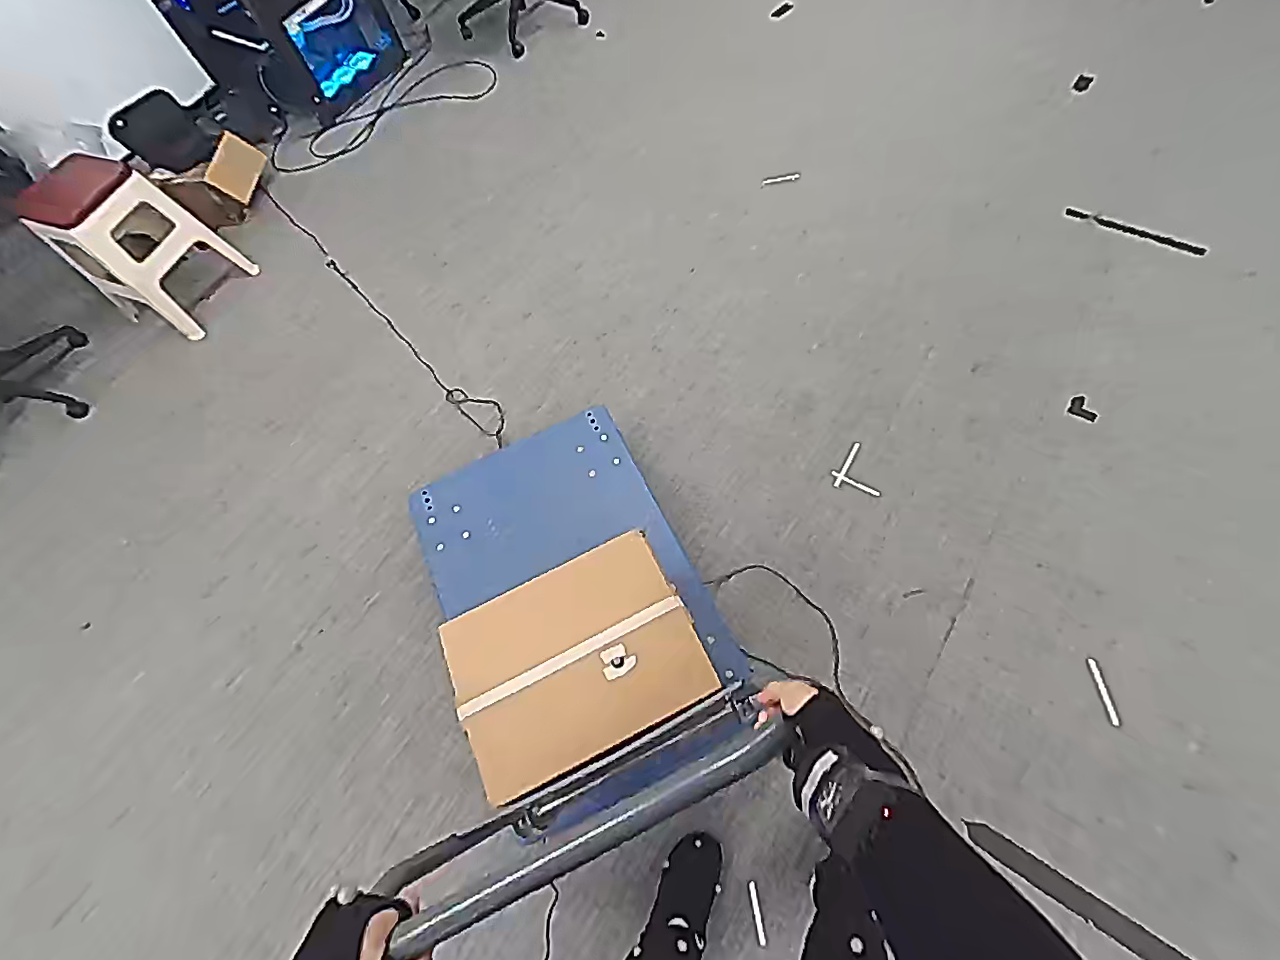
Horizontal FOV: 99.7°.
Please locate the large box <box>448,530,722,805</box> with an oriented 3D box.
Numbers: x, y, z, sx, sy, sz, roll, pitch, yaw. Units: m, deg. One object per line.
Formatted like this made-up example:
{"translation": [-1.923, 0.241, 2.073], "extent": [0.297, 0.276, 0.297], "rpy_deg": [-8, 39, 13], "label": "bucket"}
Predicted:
{"translation": [-0.089, 0.365, 1.053], "extent": [0.408, 0.320, 0.320], "rpy_deg": [-27, 64, -6], "label": "large box"}
